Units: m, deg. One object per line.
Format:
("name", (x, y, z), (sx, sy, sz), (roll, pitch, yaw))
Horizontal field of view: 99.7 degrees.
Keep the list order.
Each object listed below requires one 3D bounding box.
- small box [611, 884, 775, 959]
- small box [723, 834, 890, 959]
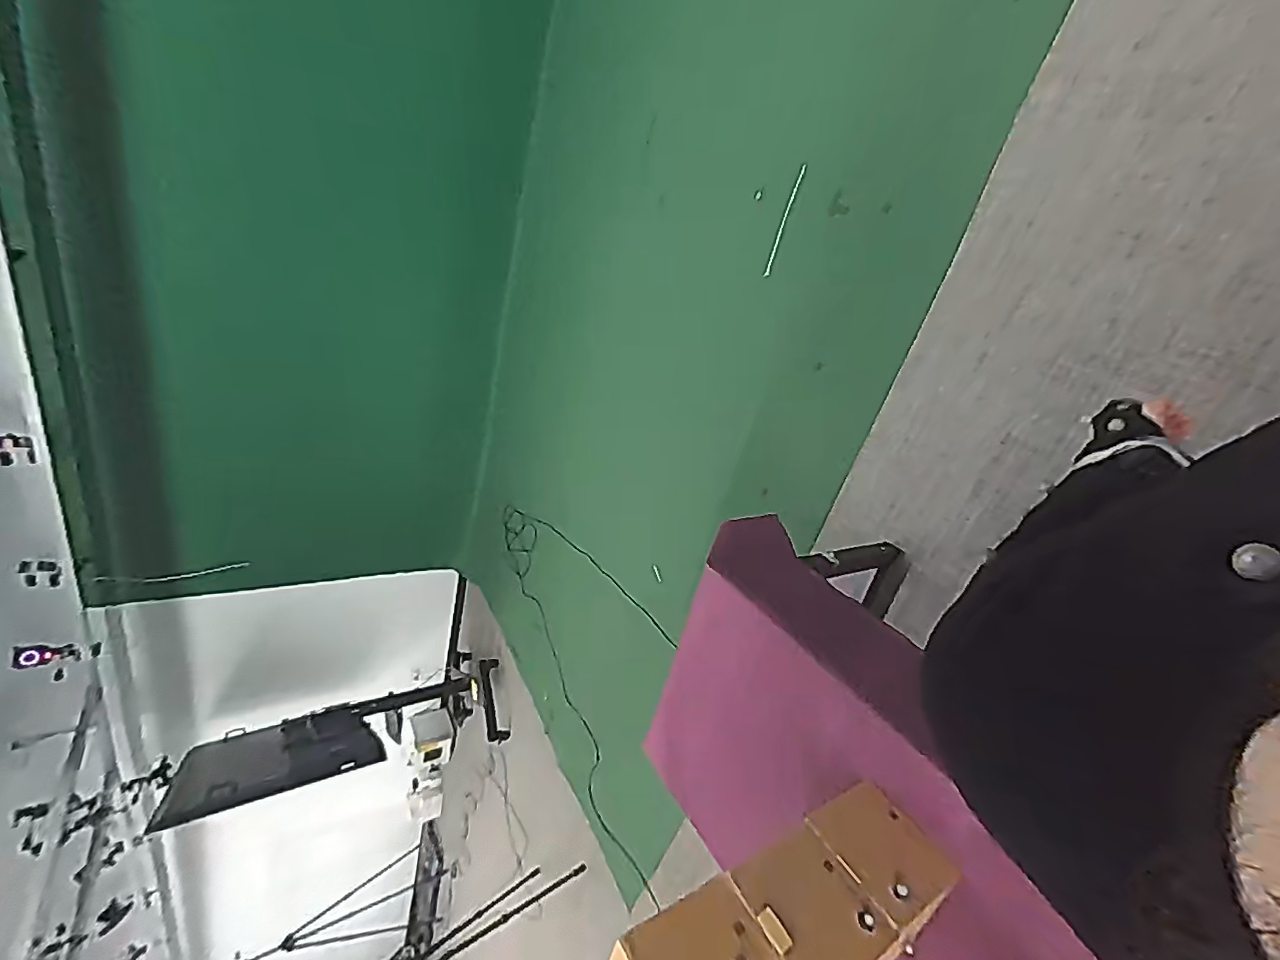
("small box", (0.066, 0.640, 0.641), (0.168, 0.176, 0.179), (39, 122, 48))
("small box", (0.203, 0.629, 0.729), (0.168, 0.176, 0.179), (40, 124, 47))
